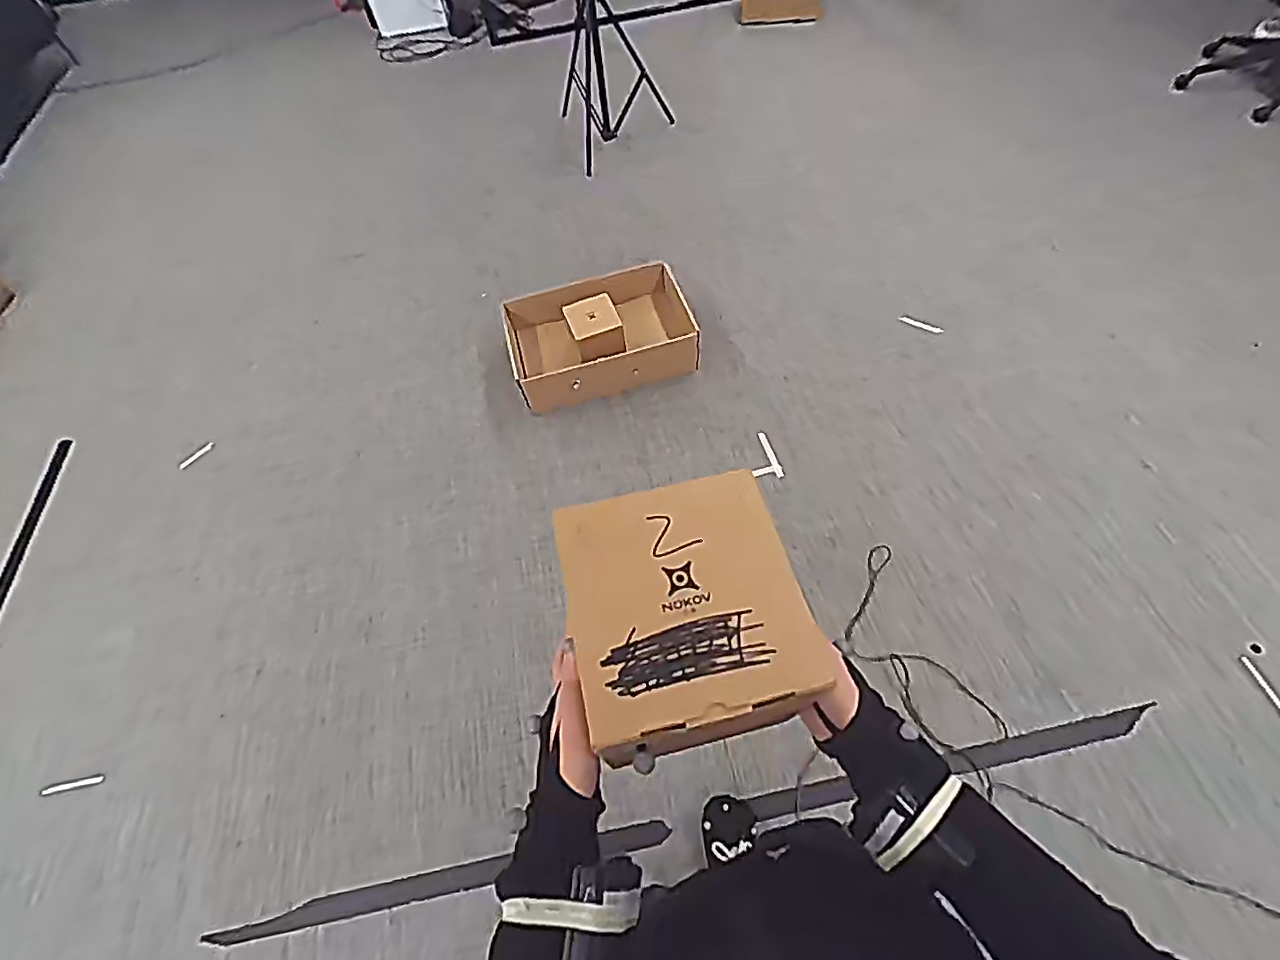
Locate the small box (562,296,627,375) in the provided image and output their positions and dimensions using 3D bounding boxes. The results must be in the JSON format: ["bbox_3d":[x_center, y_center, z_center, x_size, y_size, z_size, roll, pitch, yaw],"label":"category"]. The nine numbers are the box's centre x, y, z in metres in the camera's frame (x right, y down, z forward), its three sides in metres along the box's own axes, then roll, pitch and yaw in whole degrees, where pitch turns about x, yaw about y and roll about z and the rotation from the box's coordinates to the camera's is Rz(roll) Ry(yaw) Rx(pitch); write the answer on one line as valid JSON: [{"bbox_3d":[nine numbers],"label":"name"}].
[{"bbox_3d":[-0.156,-0.500,1.874,0.168,0.176,0.179,-21,60,-6],"label":"small box"}]
